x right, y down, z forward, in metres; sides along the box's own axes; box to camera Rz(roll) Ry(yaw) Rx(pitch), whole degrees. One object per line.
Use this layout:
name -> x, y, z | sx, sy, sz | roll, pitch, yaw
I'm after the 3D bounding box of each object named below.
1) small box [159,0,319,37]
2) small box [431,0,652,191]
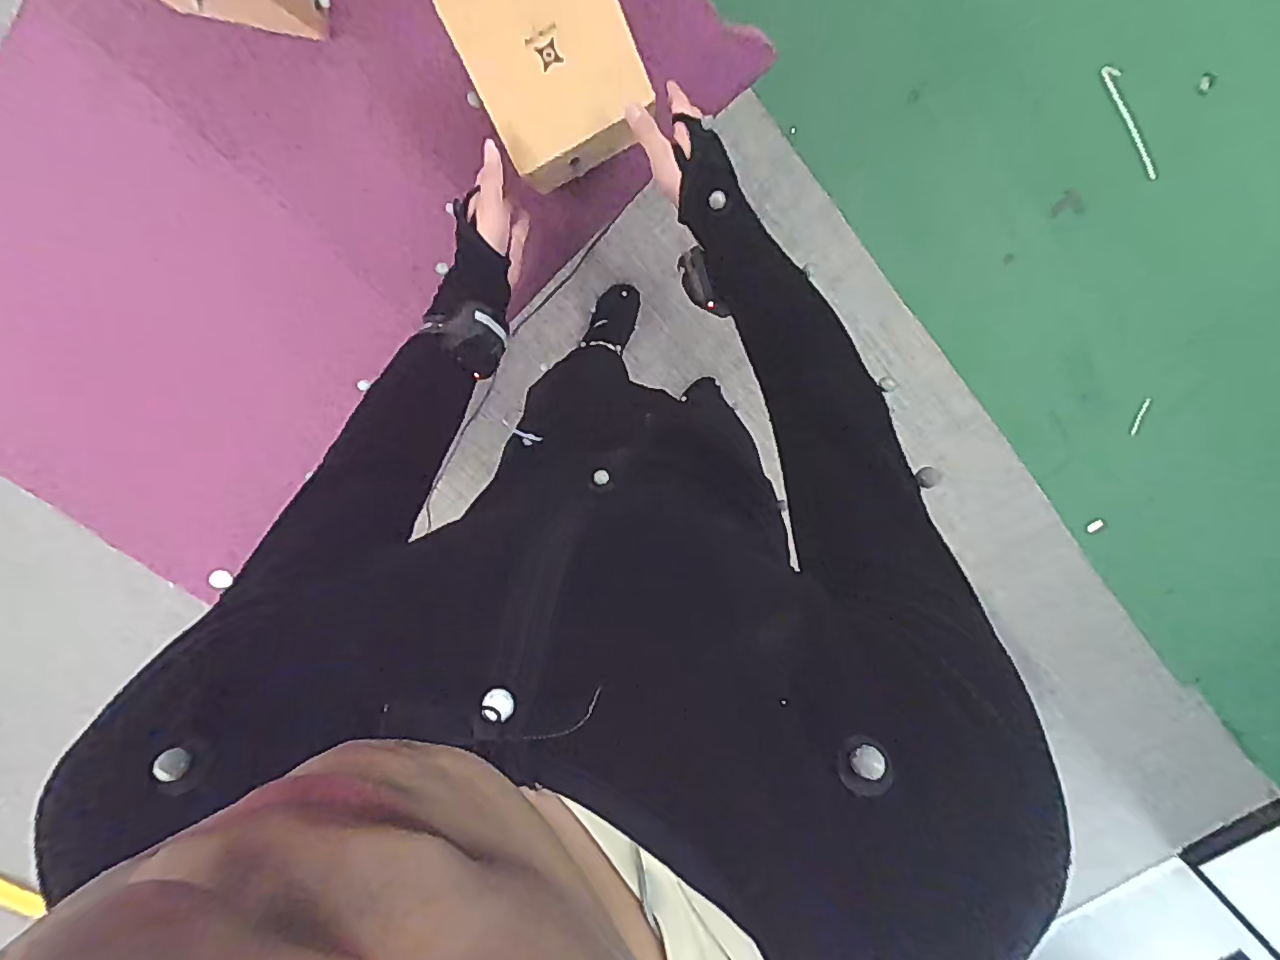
small box -> -0.447, -0.584, 0.543 | 0.179, 0.176, 0.168 | 8, 112, -6
small box -> -0.094, -0.451, 0.612 | 0.168, 0.176, 0.179 | -24, 109, 9
